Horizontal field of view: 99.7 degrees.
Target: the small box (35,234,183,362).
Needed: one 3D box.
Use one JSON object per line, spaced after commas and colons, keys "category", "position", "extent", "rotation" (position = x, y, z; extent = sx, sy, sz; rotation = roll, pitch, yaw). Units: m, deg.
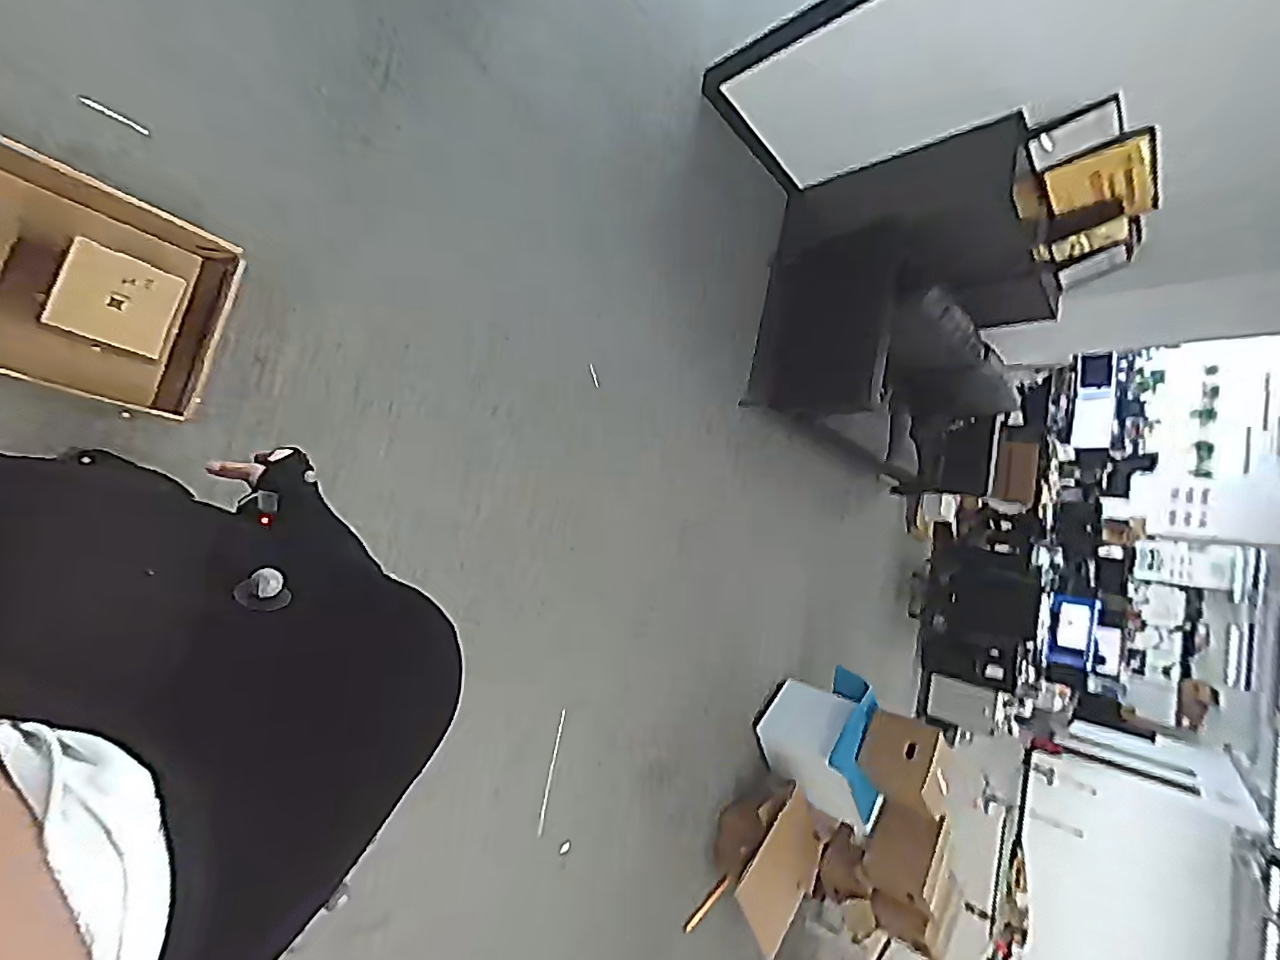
{"category": "small box", "position": [-1.054, -0.350, 1.083], "extent": [0.168, 0.176, 0.179], "rotation": [23, 78, -44]}
